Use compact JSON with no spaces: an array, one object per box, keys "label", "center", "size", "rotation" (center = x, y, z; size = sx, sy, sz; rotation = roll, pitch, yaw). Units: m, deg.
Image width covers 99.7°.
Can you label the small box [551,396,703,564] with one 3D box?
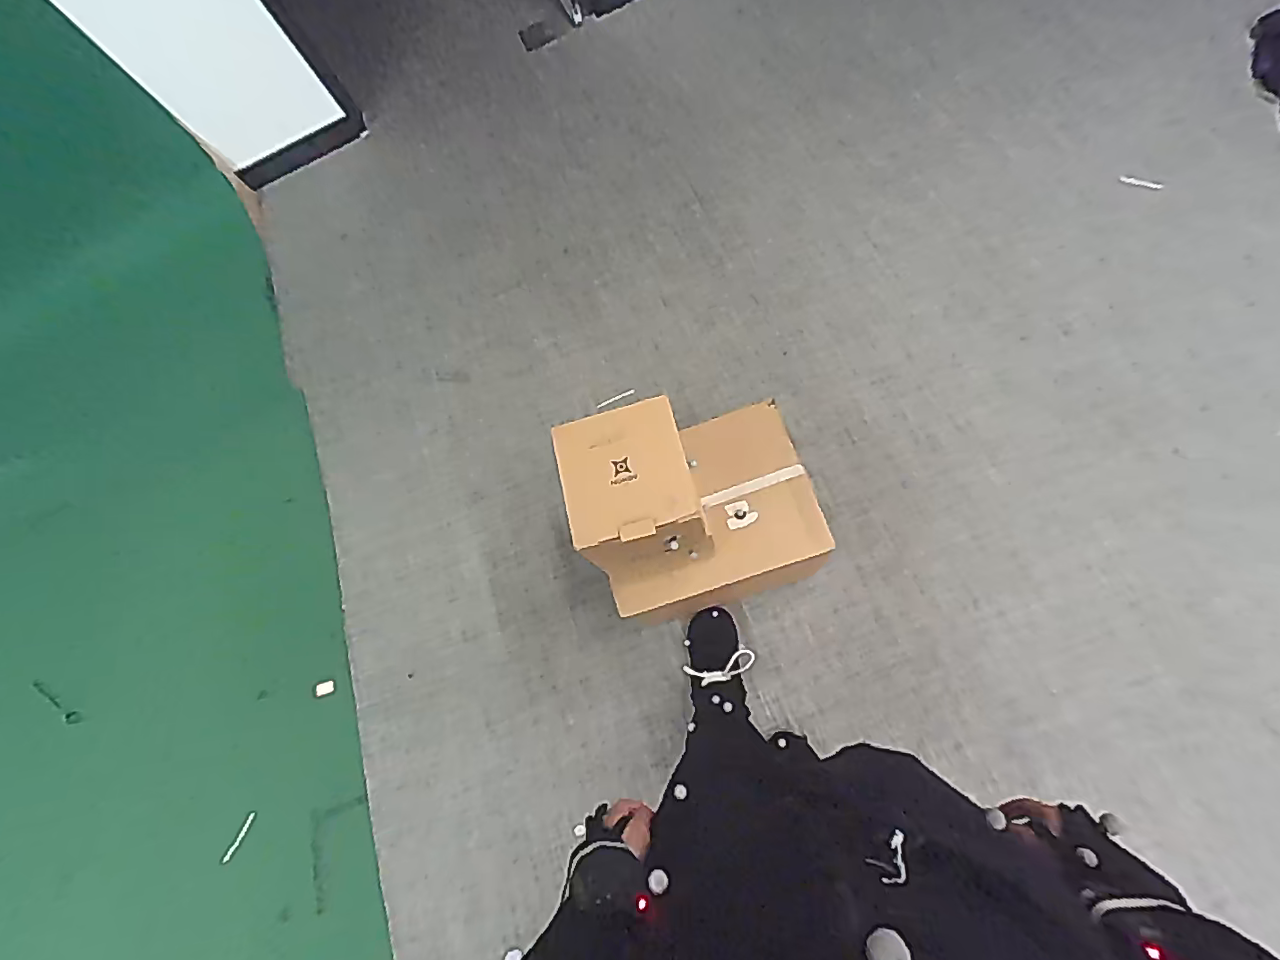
[{"label":"small box","center":[-0.011,0.012,0.766],"size":[0.168,0.176,0.179],"rotation":[-16,69,3]}]

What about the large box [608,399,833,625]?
[{"label":"large box","center":[0.135,0.090,1.147],"size":[0.408,0.320,0.320],"rotation":[-19,71,4]}]
